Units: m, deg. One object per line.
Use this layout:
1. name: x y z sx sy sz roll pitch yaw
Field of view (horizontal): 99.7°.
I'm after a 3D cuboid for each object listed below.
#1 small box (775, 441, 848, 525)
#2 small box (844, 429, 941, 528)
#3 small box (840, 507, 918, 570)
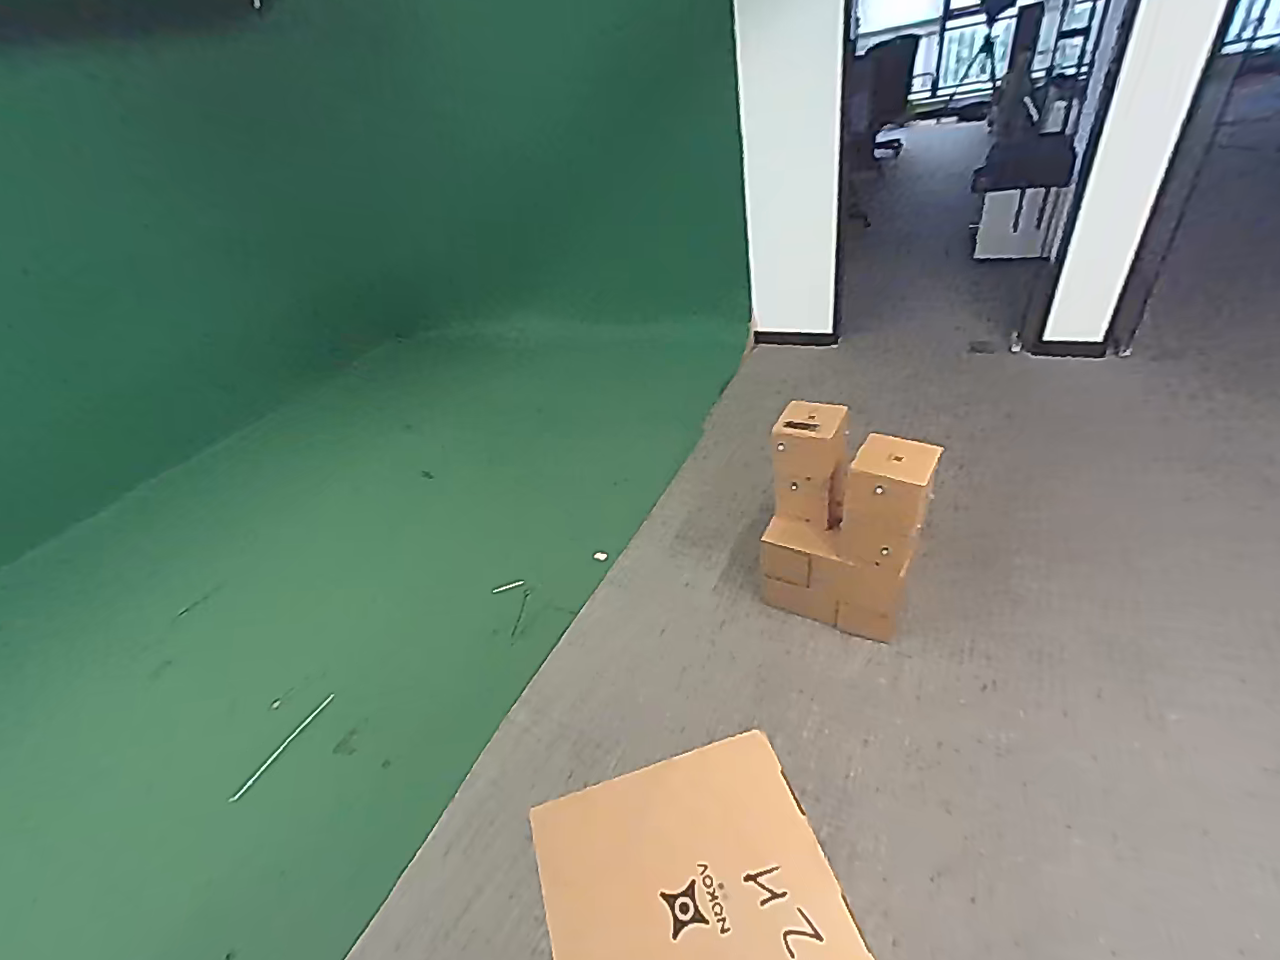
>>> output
1. small box: 0.523 0.008 1.659 0.168 0.176 0.179 15 44 33
2. small box: 0.634 -0.002 1.370 0.179 0.176 0.168 18 47 32
3. small box: 0.657 0.117 1.480 0.168 0.176 0.179 18 46 31
